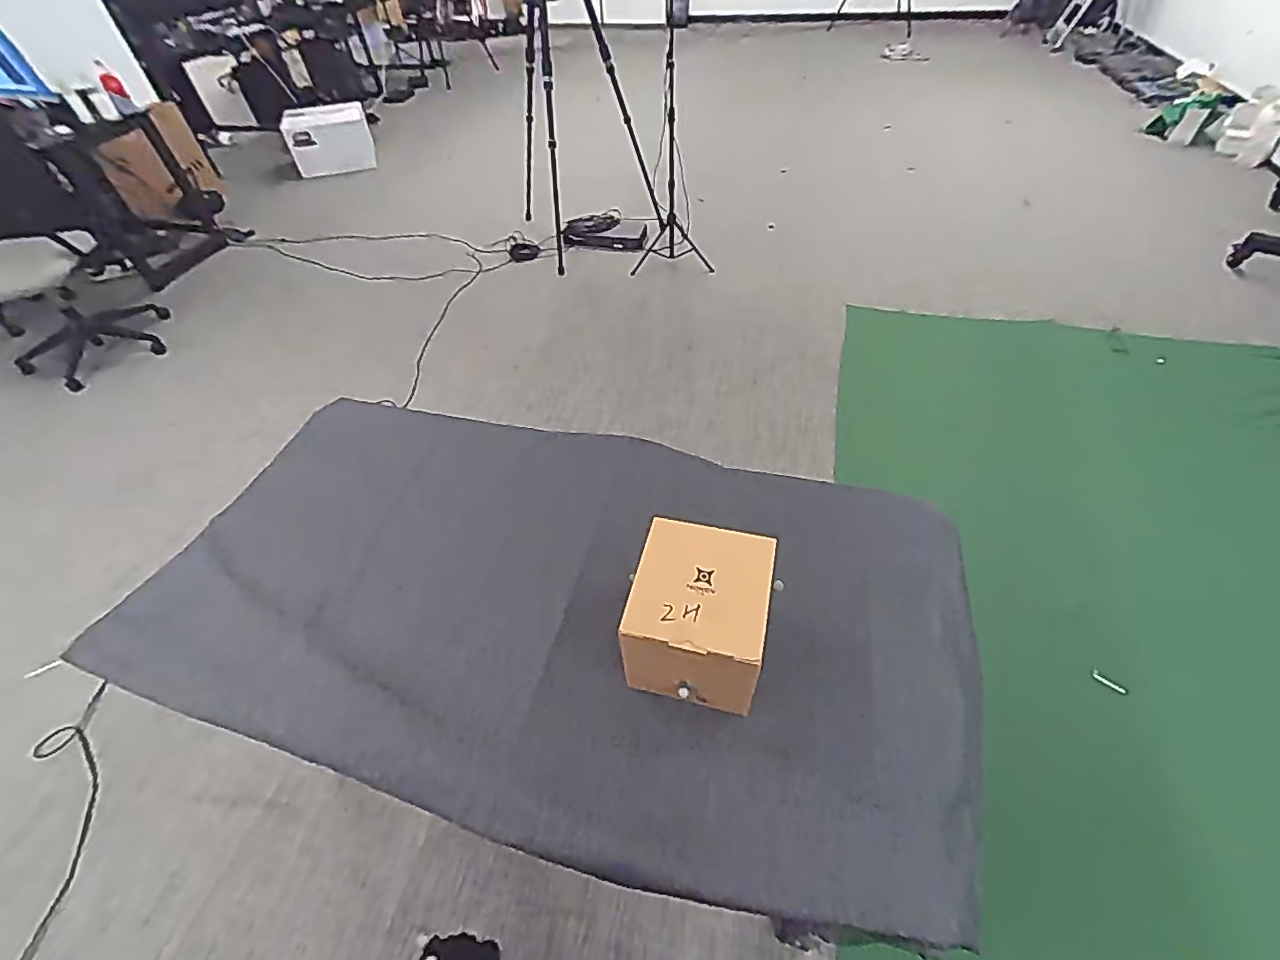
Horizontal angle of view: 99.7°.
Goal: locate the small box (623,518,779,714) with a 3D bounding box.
[{"bbox_3d":[0.082,0.181,0.722,0.168,0.176,0.179,10,49,13],"label":"small box"}]
